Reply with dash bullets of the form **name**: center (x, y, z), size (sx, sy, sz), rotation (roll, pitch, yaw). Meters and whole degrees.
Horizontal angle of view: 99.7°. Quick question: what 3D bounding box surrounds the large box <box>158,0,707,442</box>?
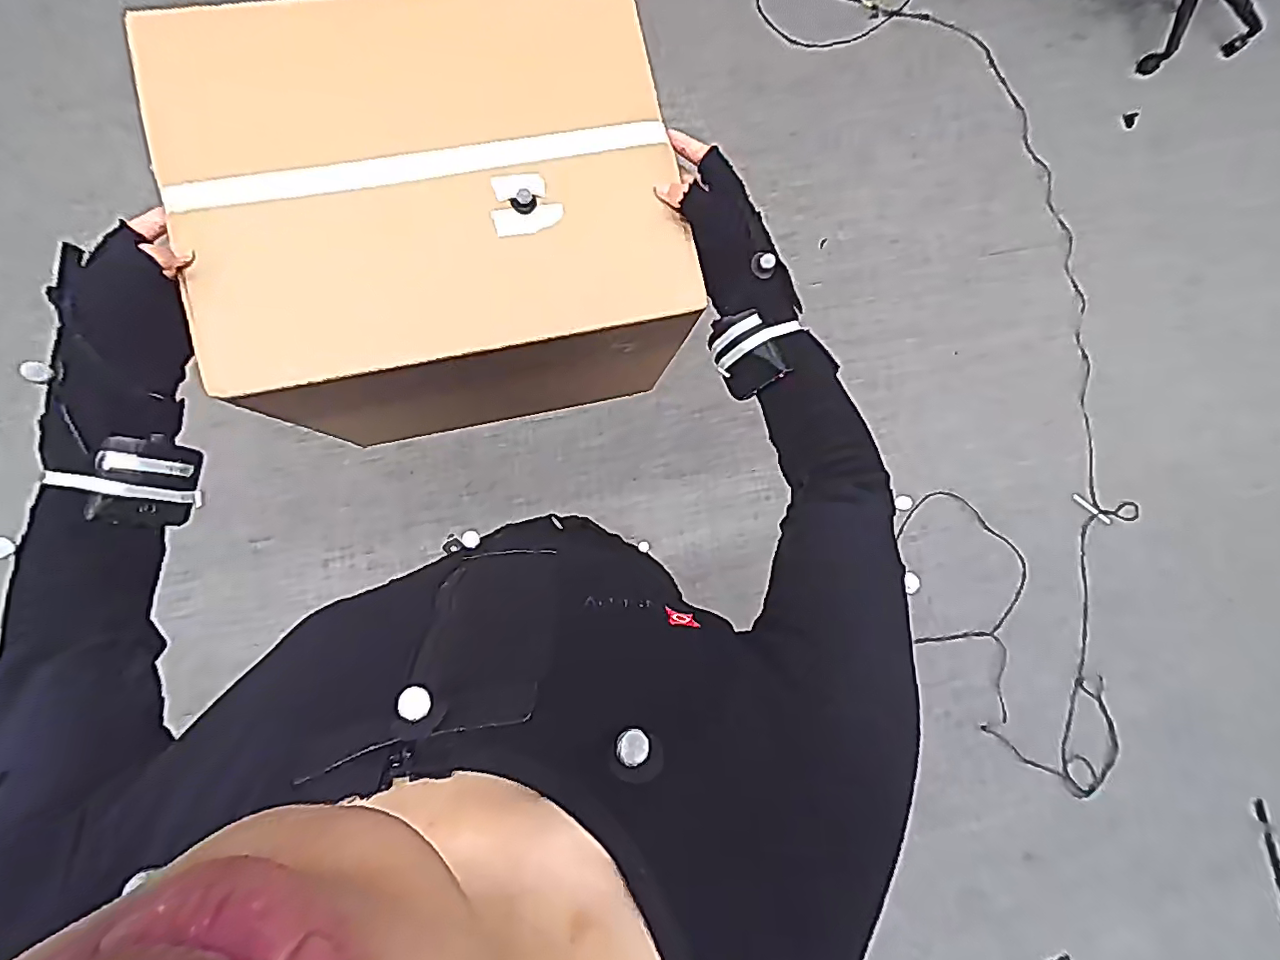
- **large box**: center (-0.186, -0.253, 0.605), size (0.408, 0.320, 0.320), rotation (-13, 89, -9)
